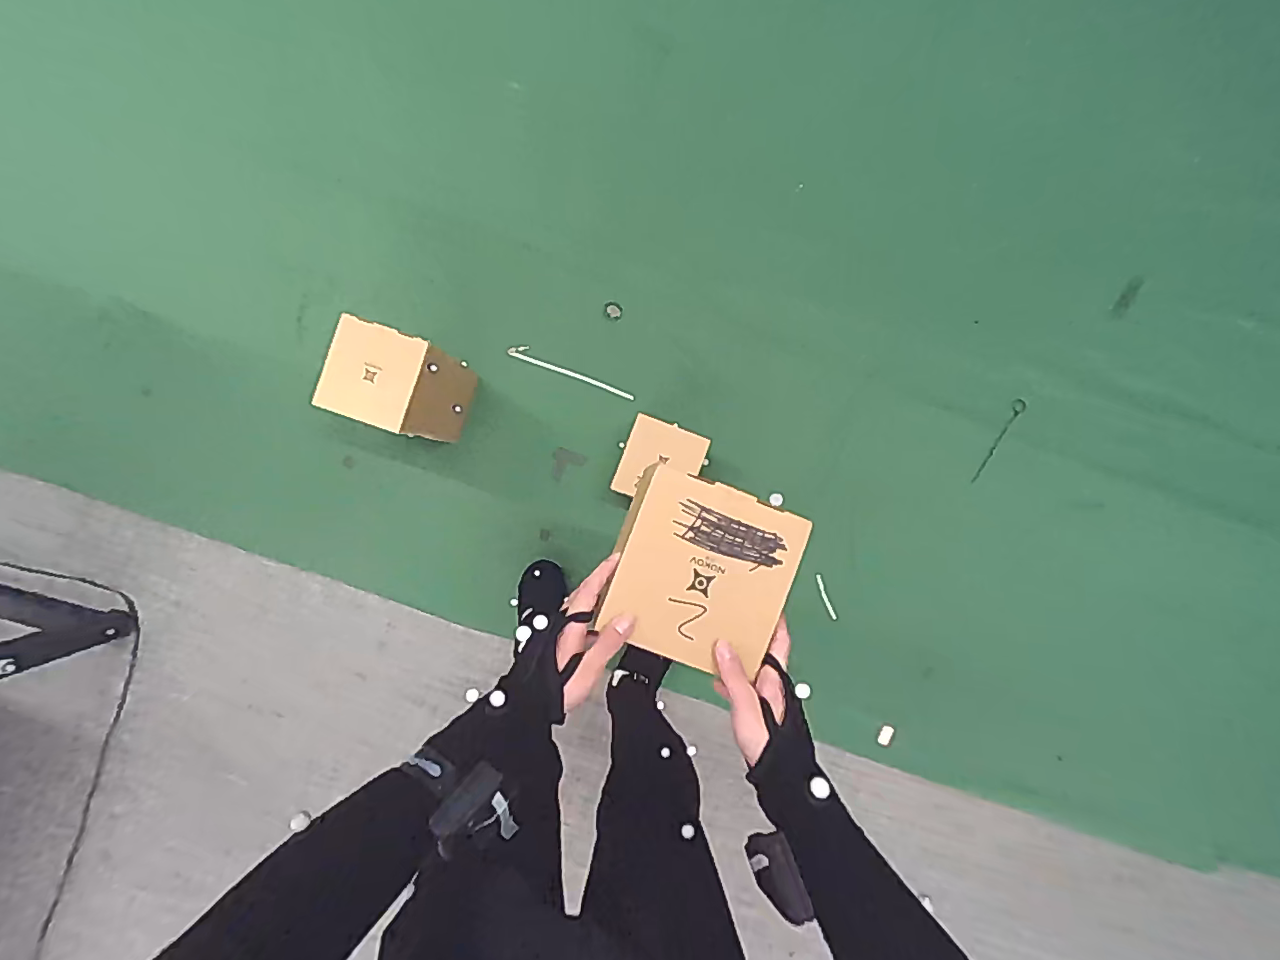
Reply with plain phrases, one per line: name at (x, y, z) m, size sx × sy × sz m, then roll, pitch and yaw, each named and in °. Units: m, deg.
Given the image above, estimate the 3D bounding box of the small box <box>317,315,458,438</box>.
small box at (-0.474, -0.189, 1.044) m, size 0.168 × 0.176 × 0.179 m, roll 19°, pitch 90°, yaw -1°

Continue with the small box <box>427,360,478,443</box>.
small box at (-0.480, -0.192, 1.206) m, size 0.168 × 0.176 × 0.179 m, roll 19°, pitch 91°, yaw -1°

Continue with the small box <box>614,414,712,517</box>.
small box at (0.045, -0.032, 1.219) m, size 0.168 × 0.176 × 0.179 m, roll 21°, pitch 91°, yaw -2°
